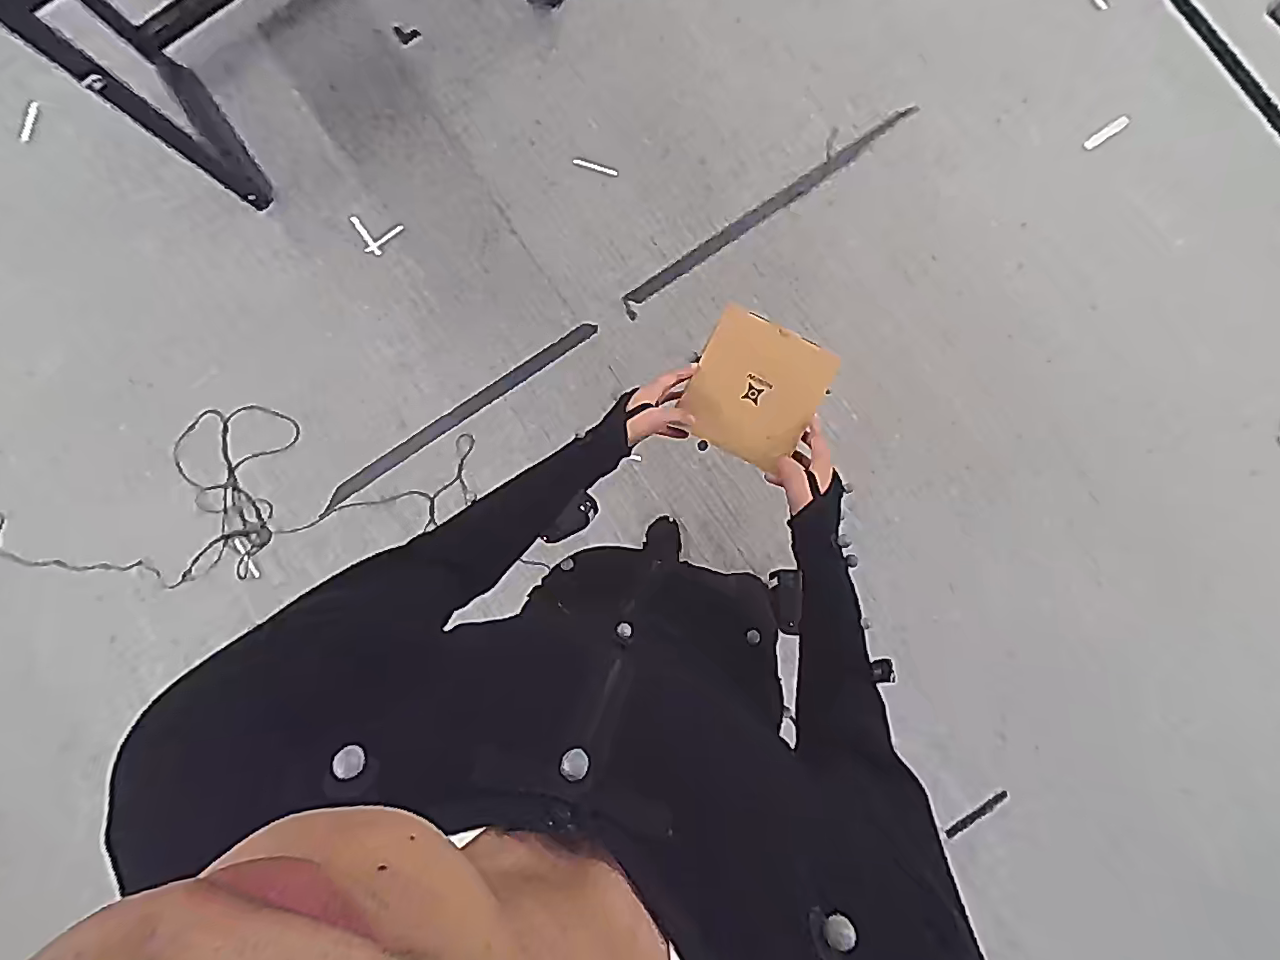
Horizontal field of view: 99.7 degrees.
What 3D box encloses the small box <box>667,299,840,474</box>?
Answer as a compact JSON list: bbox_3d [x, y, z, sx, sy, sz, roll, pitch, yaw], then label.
[{"bbox_3d":[0.149,-0.127,0.769,0.168,0.176,0.179,25,97,-1],"label":"small box"}]
